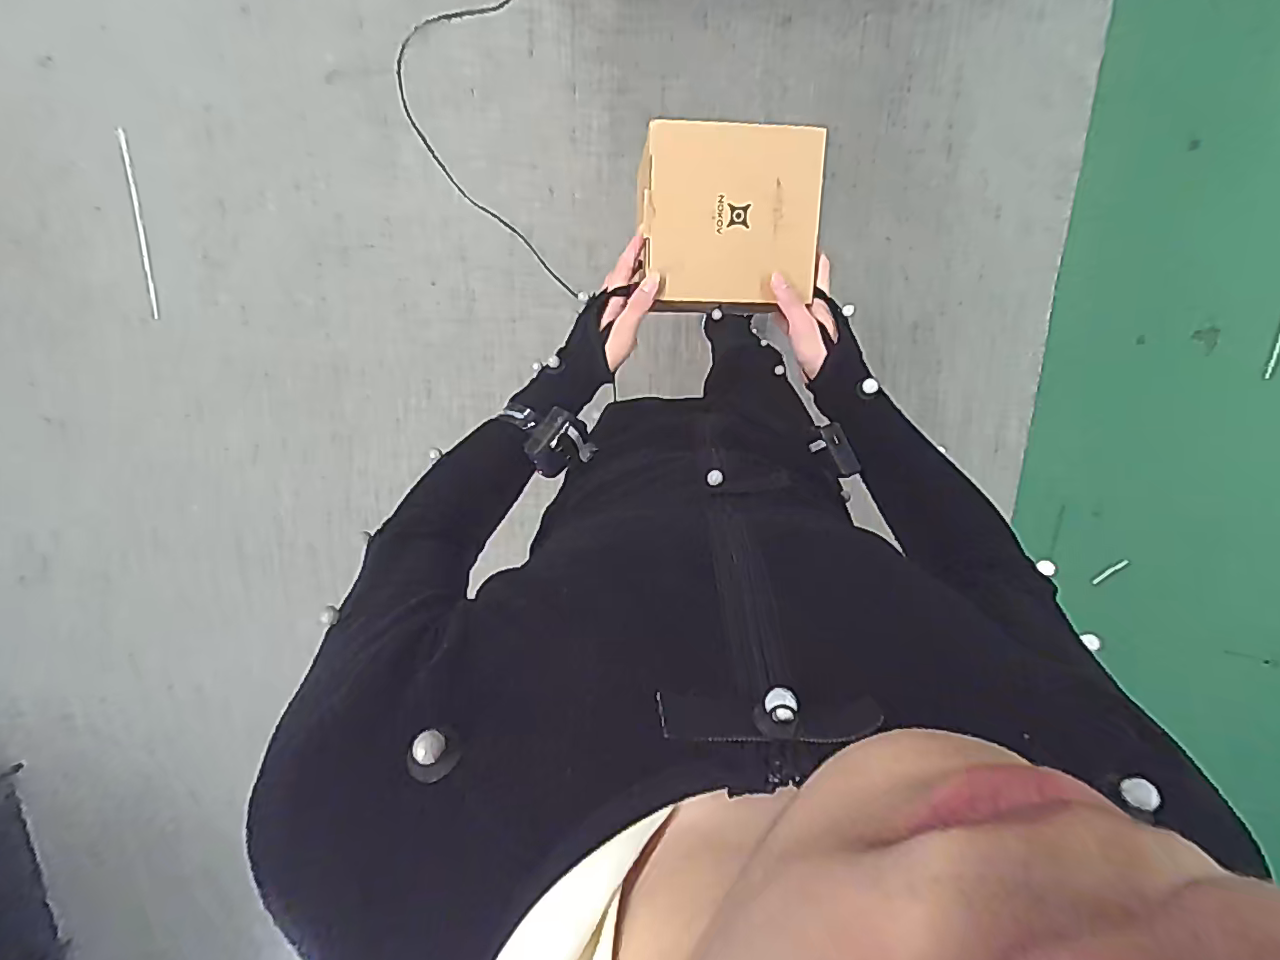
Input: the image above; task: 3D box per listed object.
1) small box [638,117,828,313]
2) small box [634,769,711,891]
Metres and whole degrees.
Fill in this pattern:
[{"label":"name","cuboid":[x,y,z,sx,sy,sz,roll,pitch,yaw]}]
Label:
[{"label":"small box","cuboid":[0.089,-0.282,0.613,0.179,0.176,0.168,0,103,-4]},{"label":"small box","cuboid":[0.077,0.839,1.307,0.168,0.176,0.179,4,102,1]}]
